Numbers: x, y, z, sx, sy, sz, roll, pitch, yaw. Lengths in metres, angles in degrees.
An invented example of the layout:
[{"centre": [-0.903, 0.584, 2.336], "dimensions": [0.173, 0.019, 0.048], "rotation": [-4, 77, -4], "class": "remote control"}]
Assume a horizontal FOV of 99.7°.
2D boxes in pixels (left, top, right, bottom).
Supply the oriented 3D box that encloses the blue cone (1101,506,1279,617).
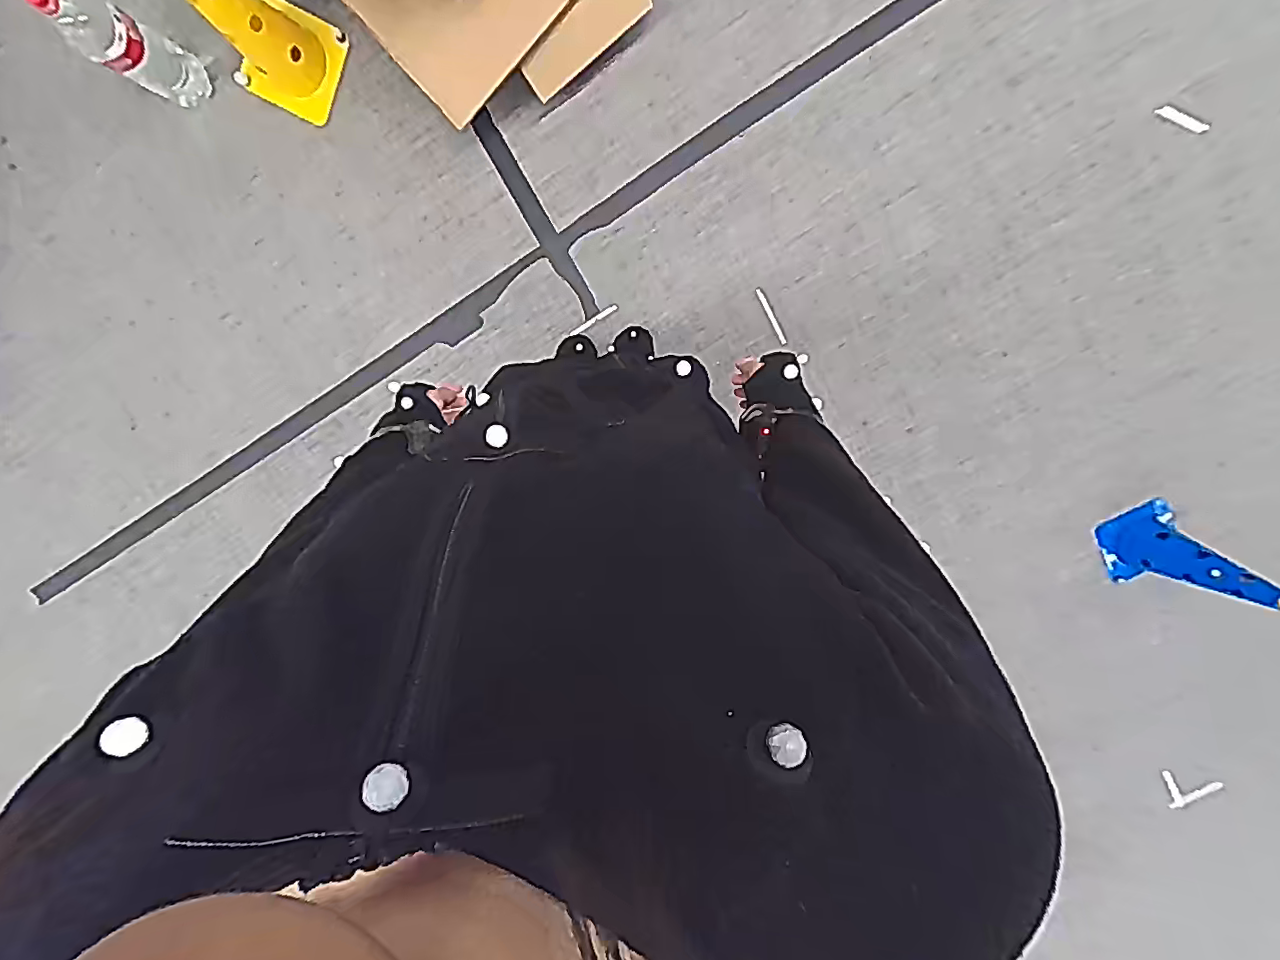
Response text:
[{"centre": [1.389, 0.223, 1.345], "dimensions": [0.193, 0.380, 0.192], "rotation": [-26, 104, 6], "class": "blue cone"}]
